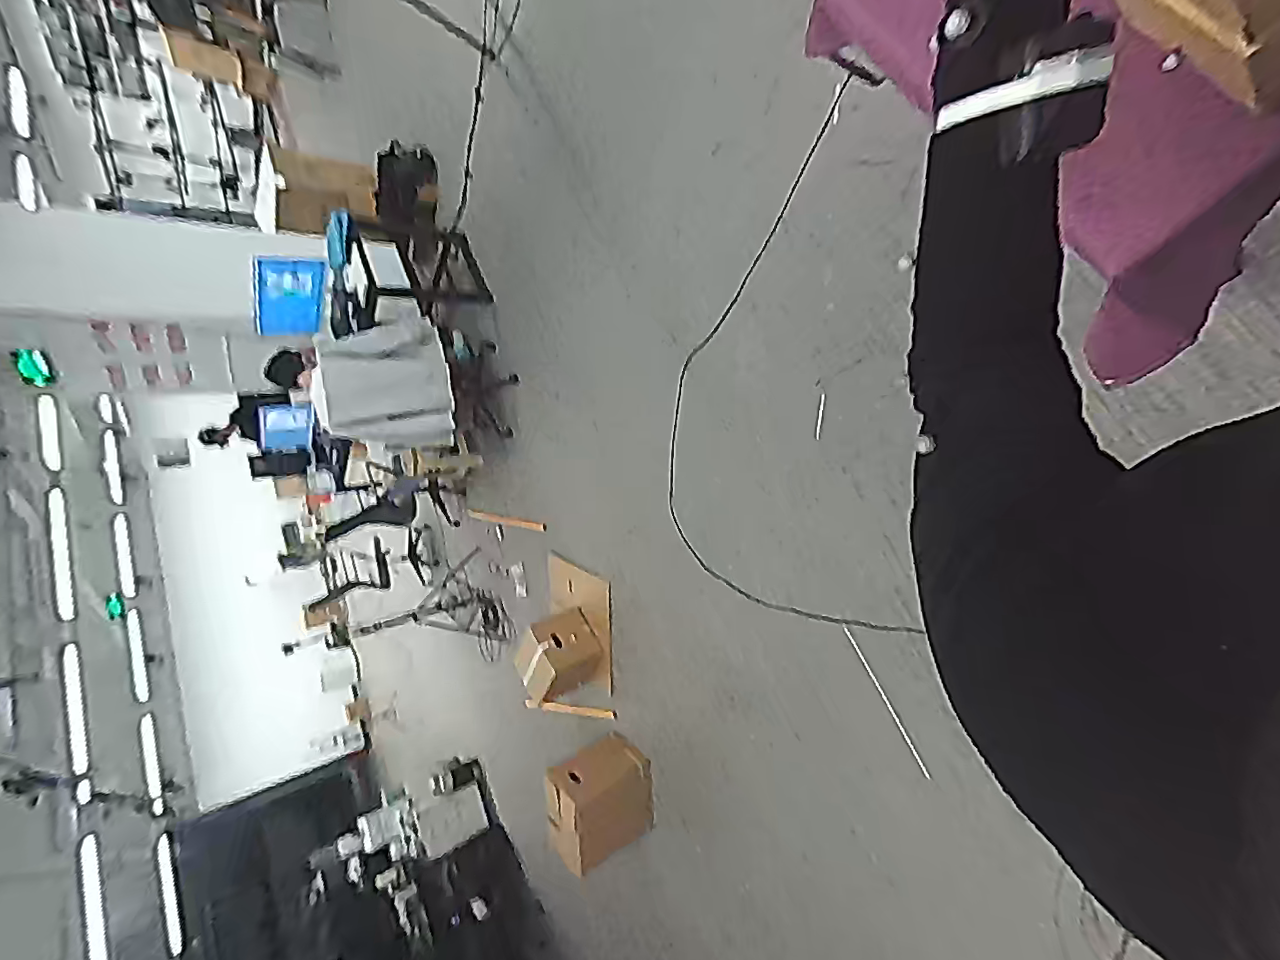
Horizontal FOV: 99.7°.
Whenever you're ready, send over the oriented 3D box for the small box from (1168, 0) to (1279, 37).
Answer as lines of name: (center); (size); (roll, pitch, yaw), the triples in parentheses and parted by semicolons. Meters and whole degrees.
small box: (0.394, -0.424, 0.329); (0.168, 0.176, 0.179); (-48, 62, 45)
